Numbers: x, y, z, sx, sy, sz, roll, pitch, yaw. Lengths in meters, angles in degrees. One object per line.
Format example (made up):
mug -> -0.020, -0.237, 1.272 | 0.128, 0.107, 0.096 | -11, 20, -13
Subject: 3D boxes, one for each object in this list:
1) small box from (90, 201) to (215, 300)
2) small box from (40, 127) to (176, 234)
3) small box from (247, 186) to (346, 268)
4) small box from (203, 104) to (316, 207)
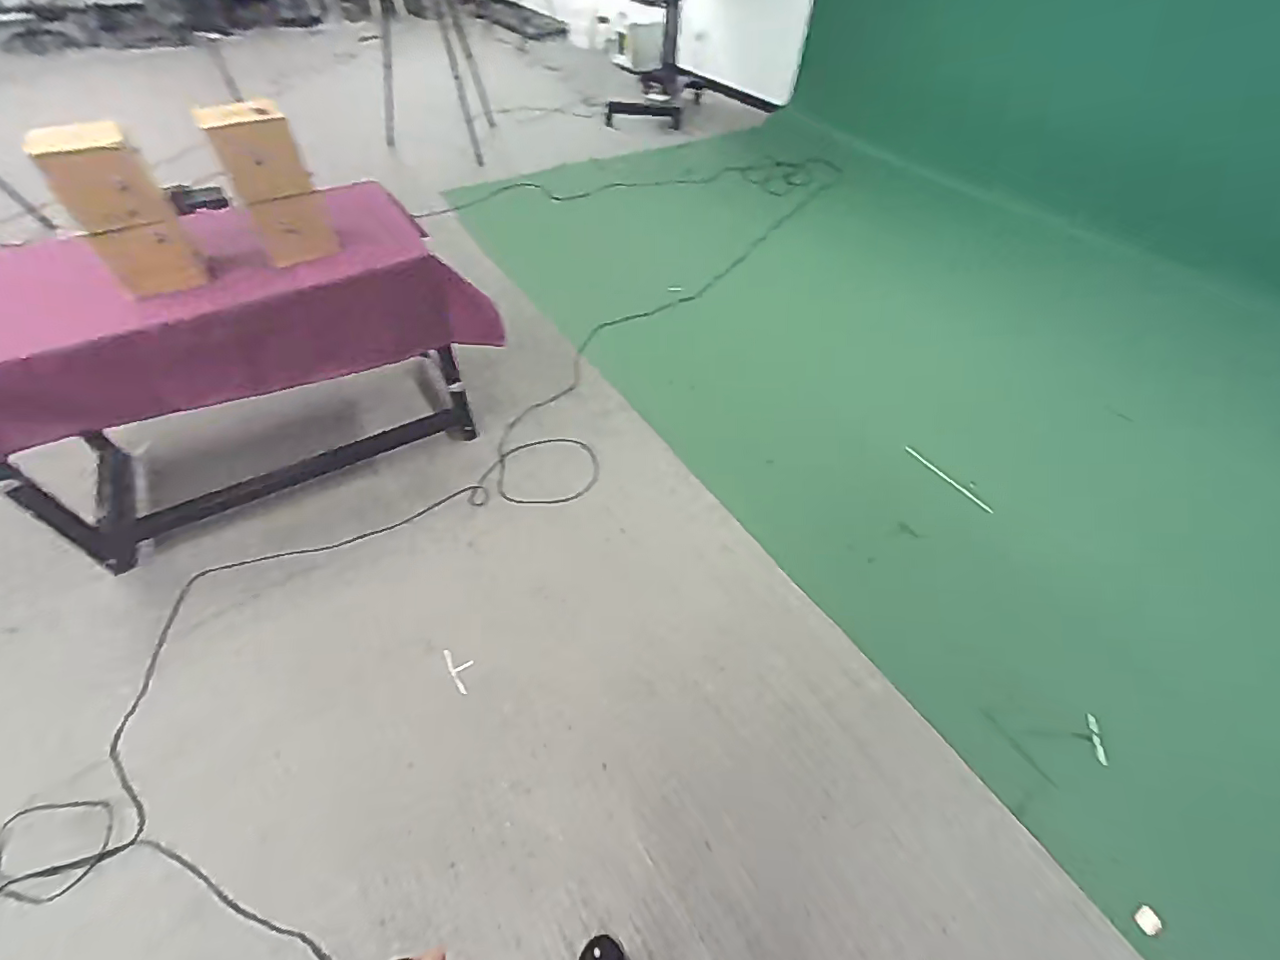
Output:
small box -> -1.228, -0.580, 1.373 | 0.179, 0.176, 0.168 | -24, 53, -21
small box -> -1.220, -0.690, 1.253 | 0.168, 0.176, 0.179 | -25, 53, -22
small box -> -0.947, -0.707, 1.483 | 0.179, 0.176, 0.168 | -28, 55, -22
small box -> -0.944, -0.813, 1.356 | 0.179, 0.176, 0.168 | -27, 54, -21
